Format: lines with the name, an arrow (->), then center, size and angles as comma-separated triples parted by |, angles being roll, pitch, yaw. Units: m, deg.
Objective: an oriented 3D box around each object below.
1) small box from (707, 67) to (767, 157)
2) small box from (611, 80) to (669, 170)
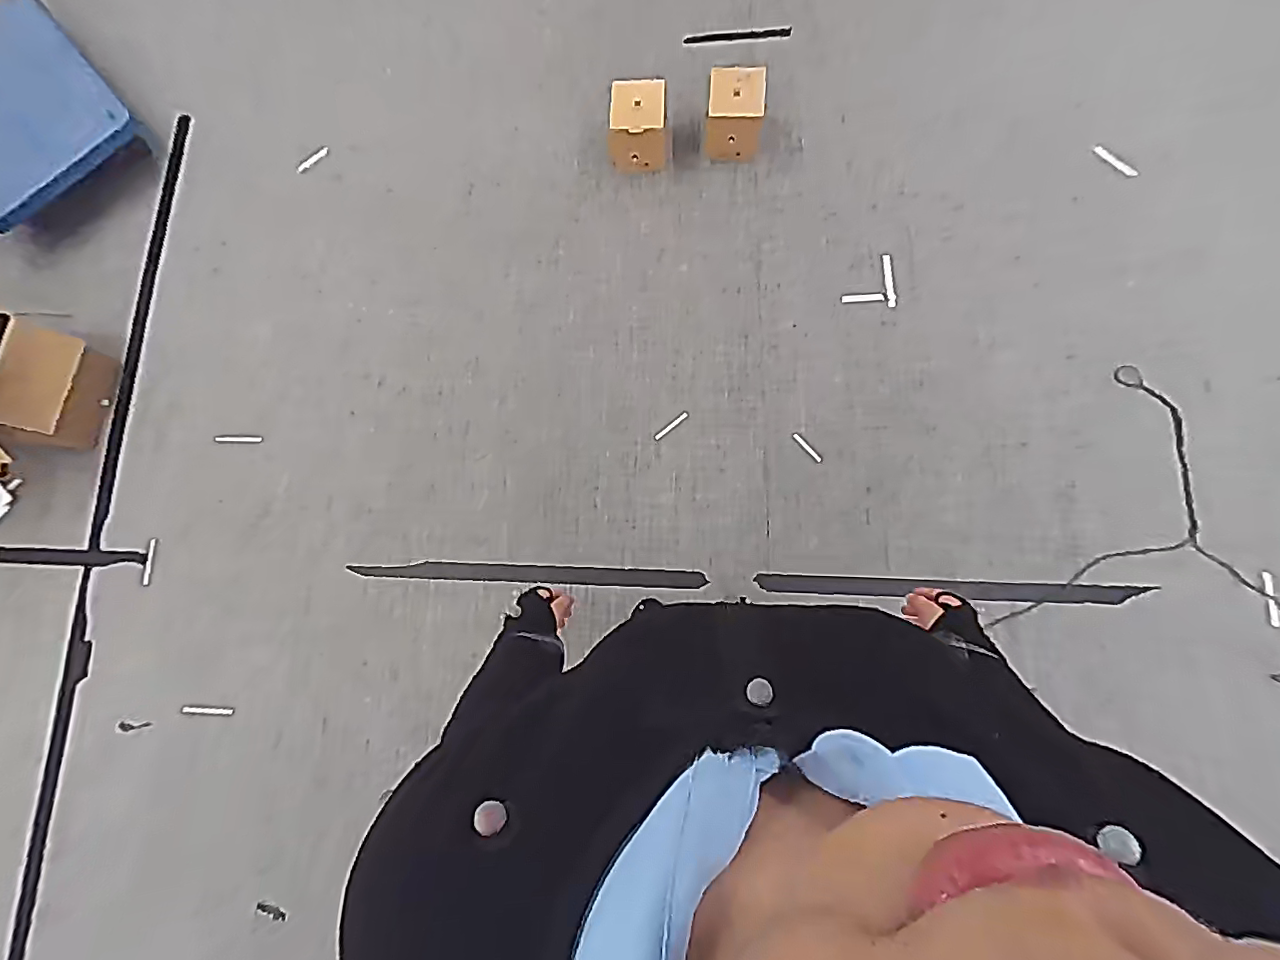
small box -> 0.300, -1.145, 1.691 | 0.168, 0.176, 0.179 | 4, 79, 5
small box -> 0.004, -1.122, 1.713 | 0.168, 0.176, 0.179 | 1, 79, 5
